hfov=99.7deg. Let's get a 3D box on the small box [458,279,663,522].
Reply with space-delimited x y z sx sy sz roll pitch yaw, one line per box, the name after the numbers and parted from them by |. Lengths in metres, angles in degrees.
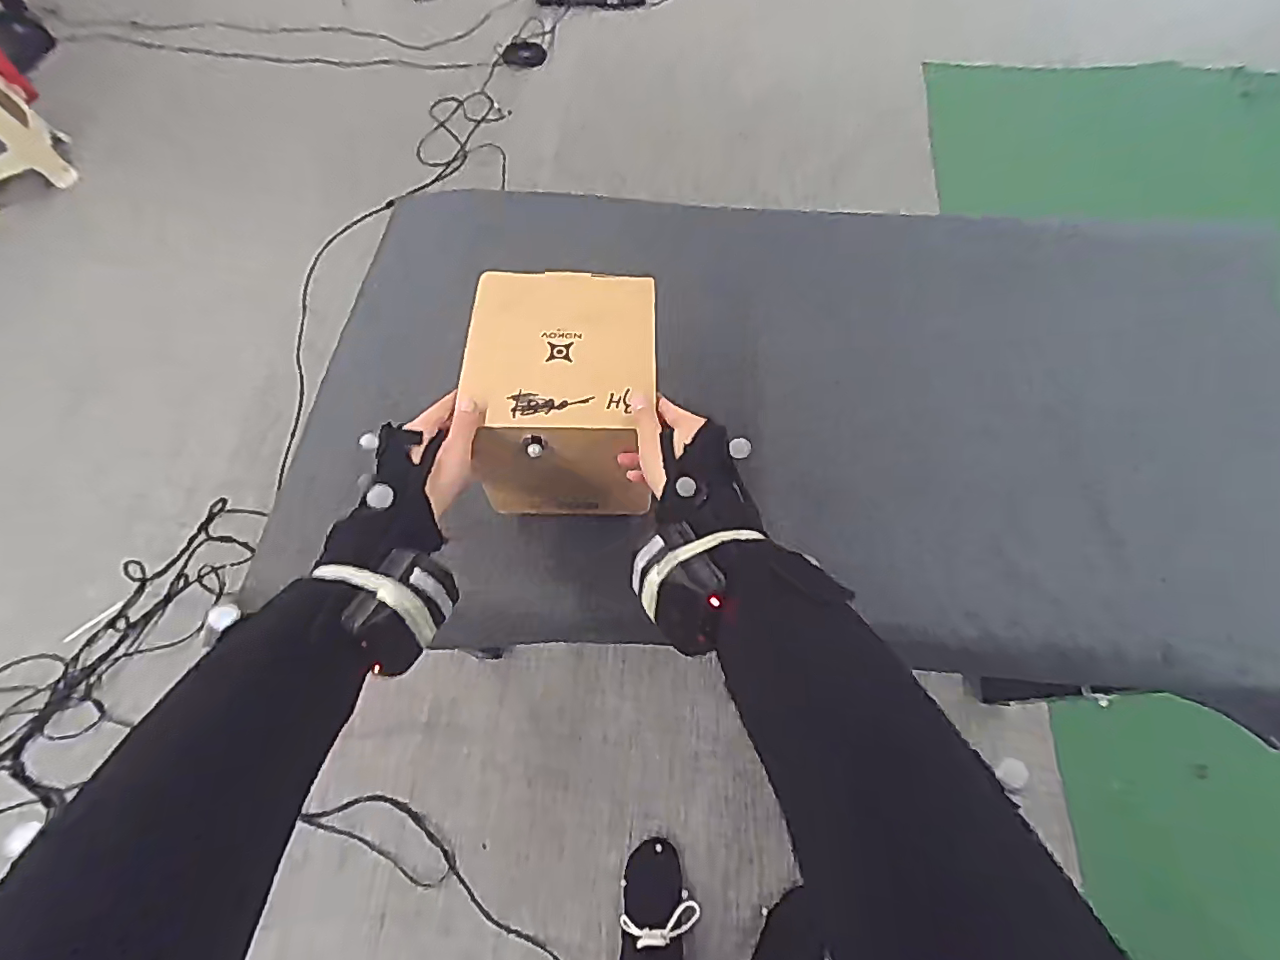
-0.067 -0.073 0.540 0.168 0.176 0.179 1 61 -2 | small box
